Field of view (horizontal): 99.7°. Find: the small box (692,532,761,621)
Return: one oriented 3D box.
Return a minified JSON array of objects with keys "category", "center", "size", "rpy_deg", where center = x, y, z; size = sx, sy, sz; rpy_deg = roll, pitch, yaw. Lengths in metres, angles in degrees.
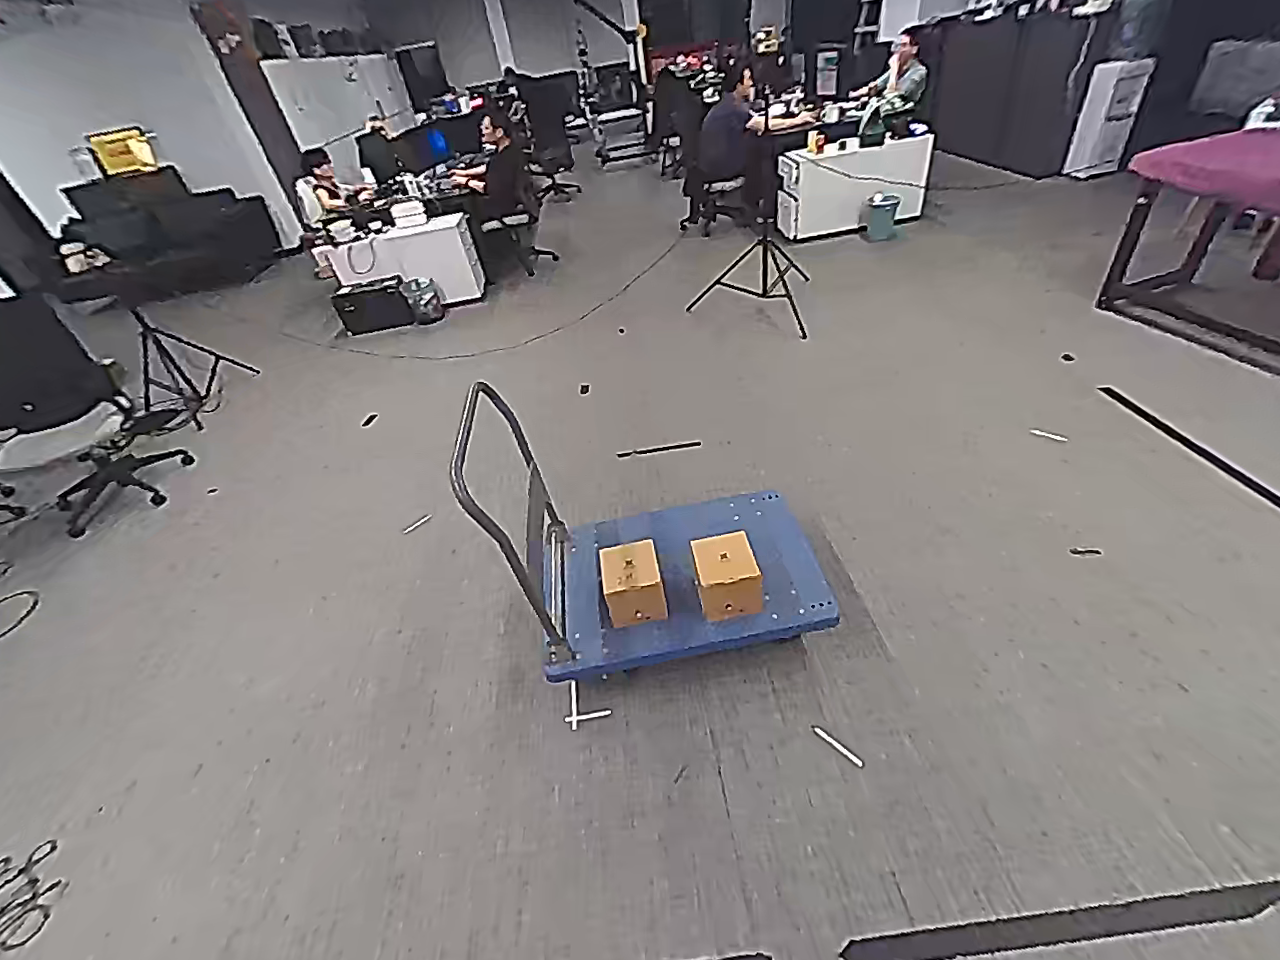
[{"category":"small box","center":[0.252,0.283,1.588],"size":[0.168,0.176,0.179],"rpy_deg":[-11,39,0]}]

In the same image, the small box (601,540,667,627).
[{"category":"small box","center":[-0.019,0.310,1.618],"size":[0.168,0.176,0.179],"rpy_deg":[-12,40,0]}]
